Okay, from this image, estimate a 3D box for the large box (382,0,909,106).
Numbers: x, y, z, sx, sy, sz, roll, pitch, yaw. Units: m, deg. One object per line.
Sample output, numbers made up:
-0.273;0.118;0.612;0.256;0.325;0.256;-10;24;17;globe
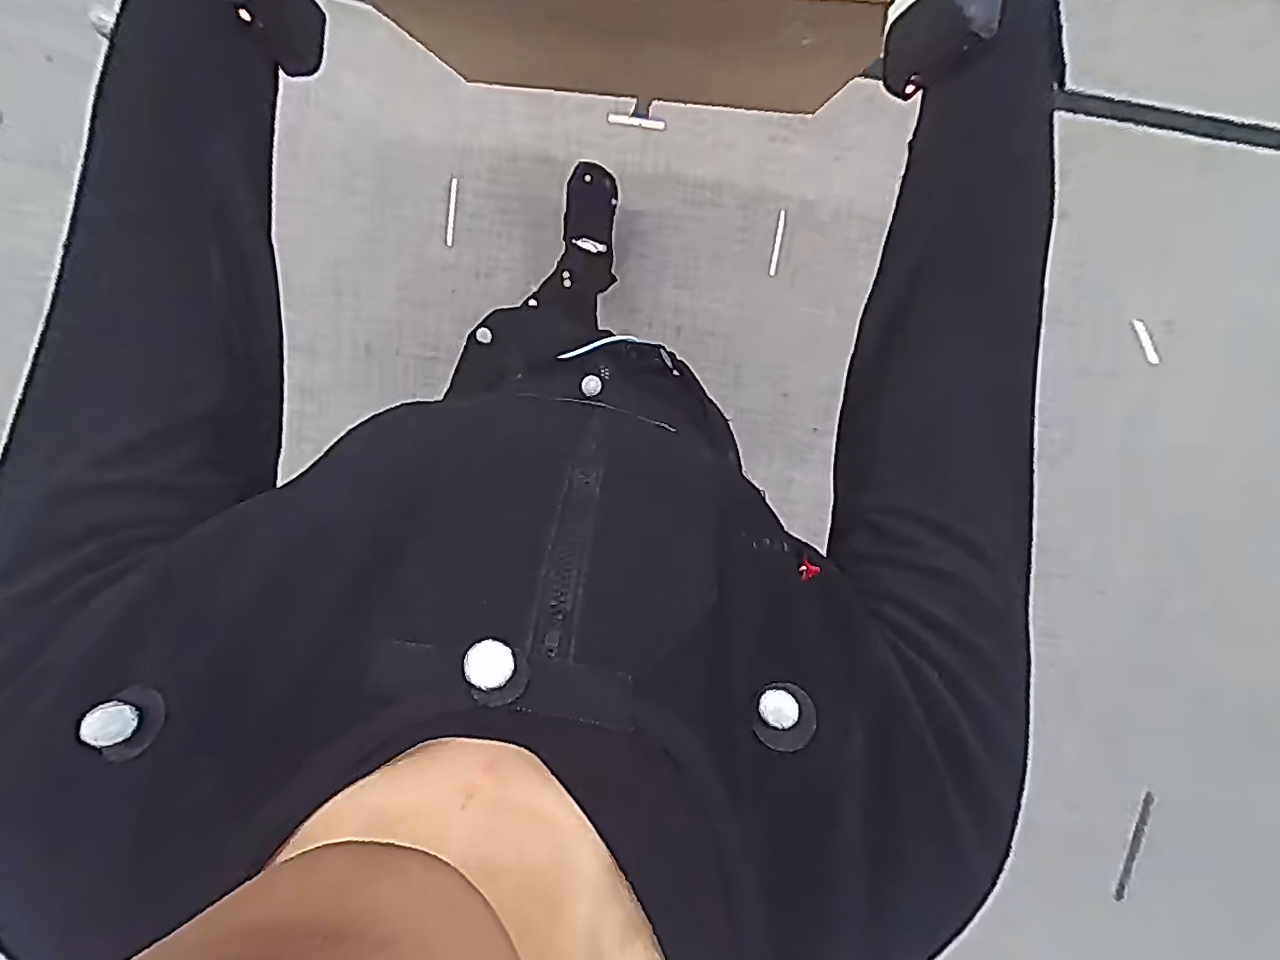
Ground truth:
0.003;-0.527;0.432;0.408;0.320;0.320;5;114;0;large box
